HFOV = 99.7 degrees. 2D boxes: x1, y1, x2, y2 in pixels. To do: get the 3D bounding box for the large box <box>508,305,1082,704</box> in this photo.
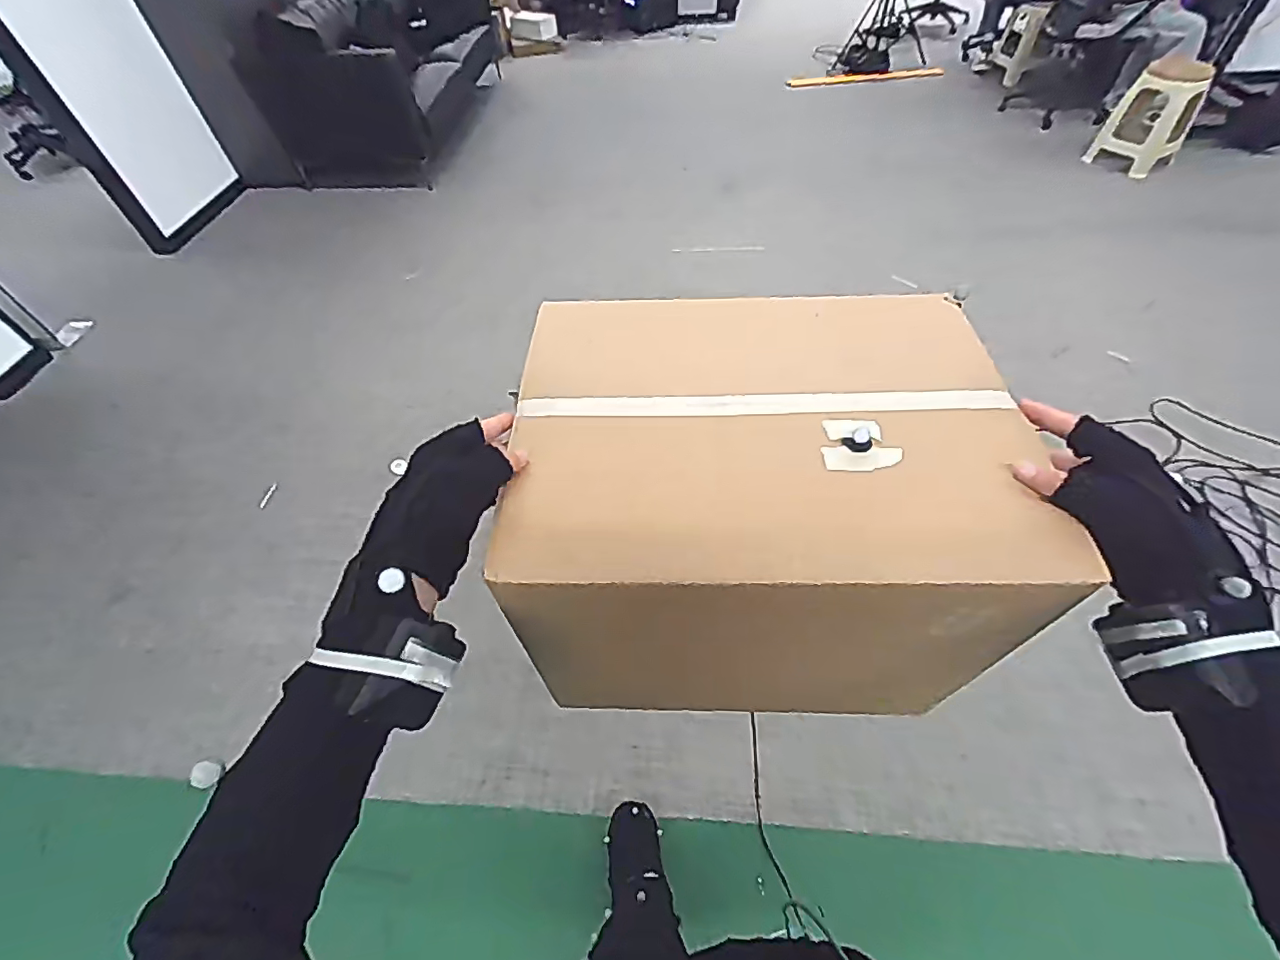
[{"bbox_3d":[0.107,0.036,0.577,0.408,0.320,0.320,0,53,2],"label":"large box"}]
